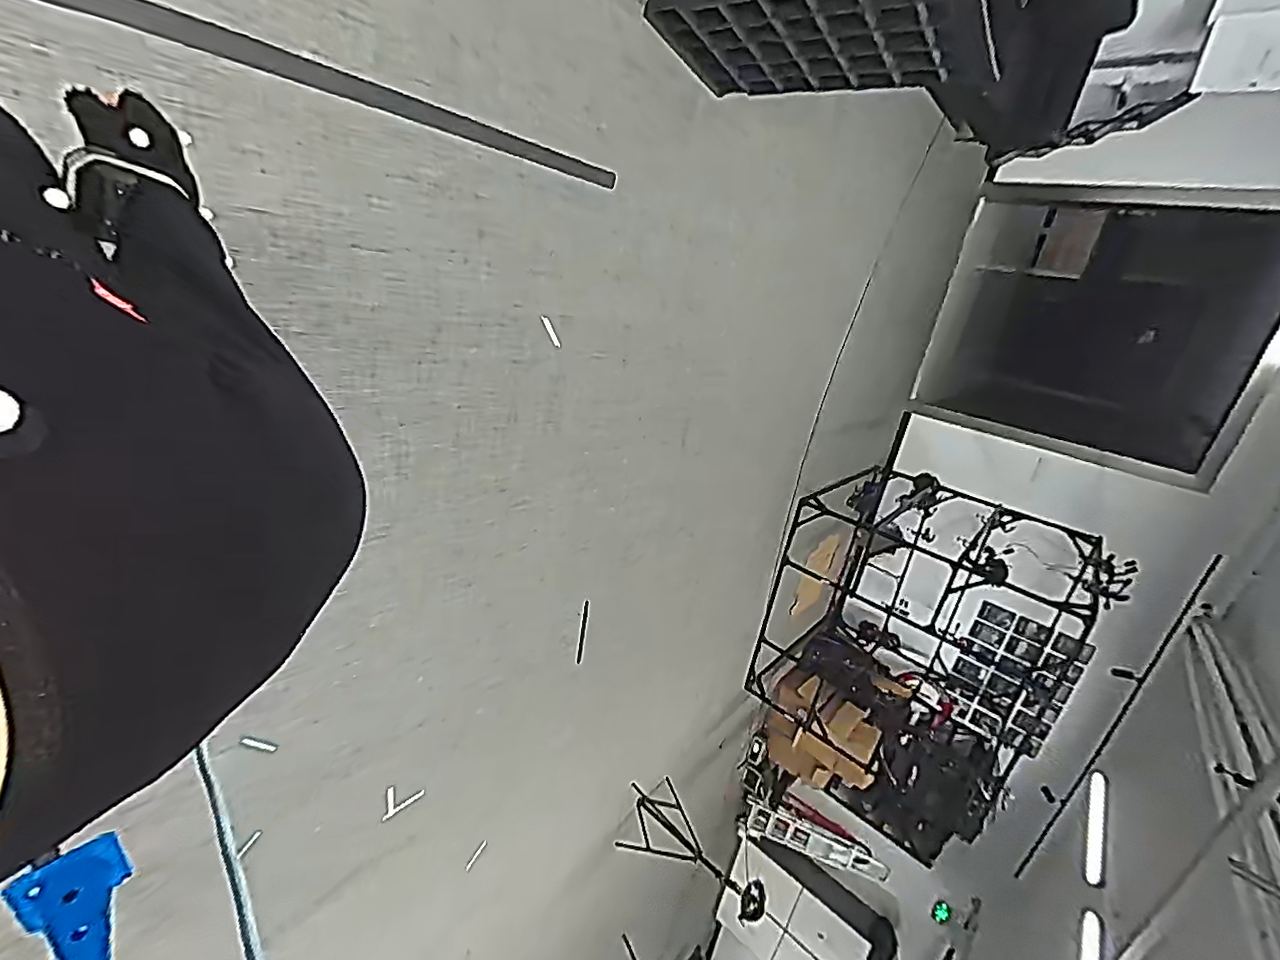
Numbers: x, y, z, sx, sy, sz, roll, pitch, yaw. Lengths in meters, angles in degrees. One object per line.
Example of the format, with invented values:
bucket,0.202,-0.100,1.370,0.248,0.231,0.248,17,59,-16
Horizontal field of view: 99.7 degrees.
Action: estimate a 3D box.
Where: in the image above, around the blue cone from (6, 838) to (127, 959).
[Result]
blue cone,-1.310,1.074,1.269,0.192,0.380,0.193,-20,126,-48
